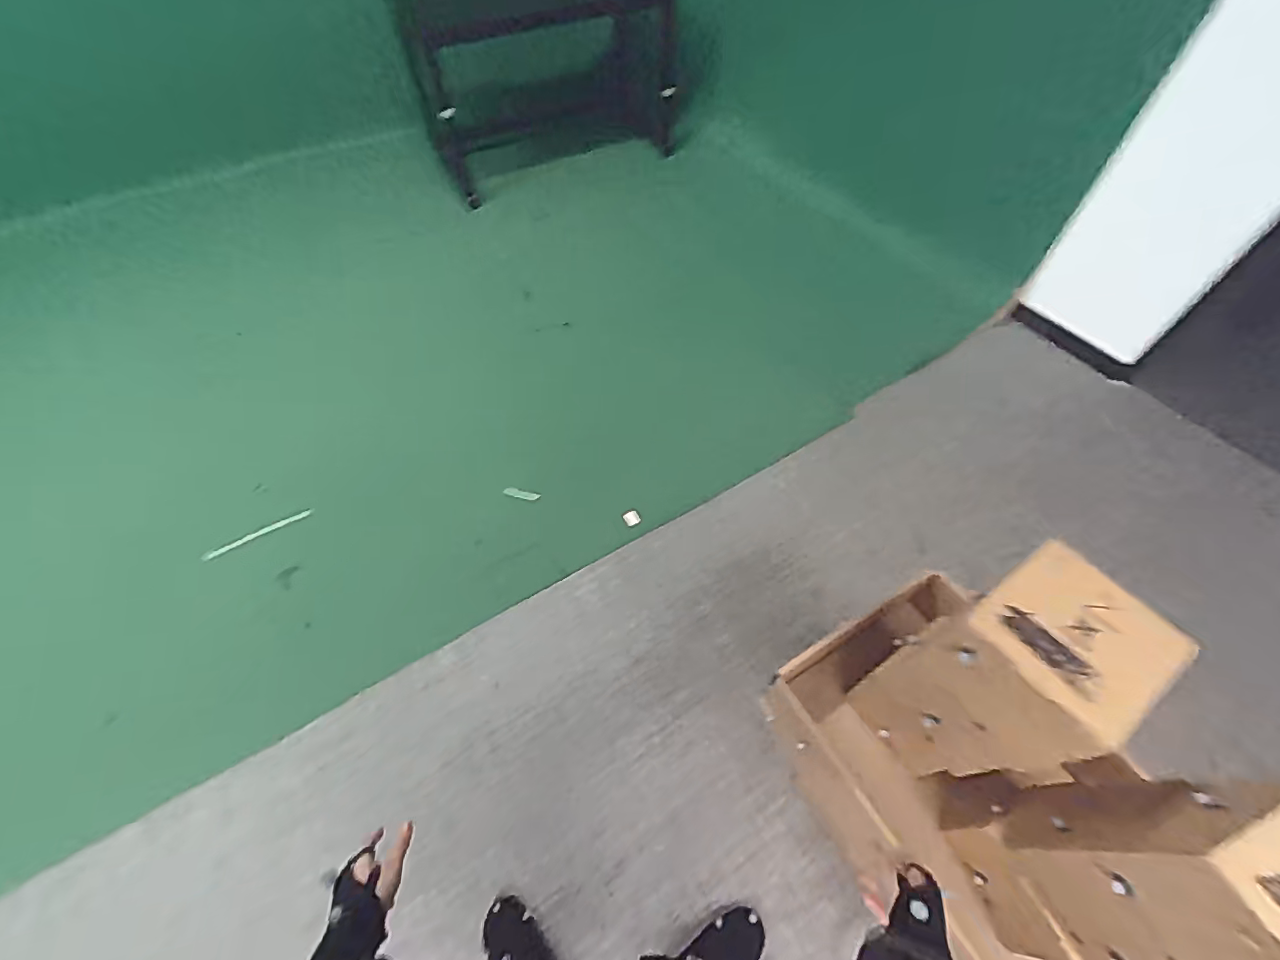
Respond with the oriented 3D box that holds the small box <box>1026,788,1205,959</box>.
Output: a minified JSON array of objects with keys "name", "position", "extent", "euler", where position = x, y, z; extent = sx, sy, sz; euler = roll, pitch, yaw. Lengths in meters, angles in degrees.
[{"name":"small box","position":[0.612,0.498,0.644],"extent":[0.179,0.176,0.168],"euler":[-22,59,-12]}]

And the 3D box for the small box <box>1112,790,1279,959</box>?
[{"name":"small box","position":[0.607,0.412,0.505],"extent":[0.179,0.176,0.168],"euler":[-19,59,-11]}]

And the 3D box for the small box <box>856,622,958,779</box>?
[{"name":"small box","position":[0.503,0.379,0.922],"extent":[0.179,0.176,0.168],"euler":[-30,60,-17]}]

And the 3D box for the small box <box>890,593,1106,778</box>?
[{"name":"small box","position":[0.491,0.300,0.778],"extent":[0.179,0.176,0.168],"euler":[-30,61,-16]}]
